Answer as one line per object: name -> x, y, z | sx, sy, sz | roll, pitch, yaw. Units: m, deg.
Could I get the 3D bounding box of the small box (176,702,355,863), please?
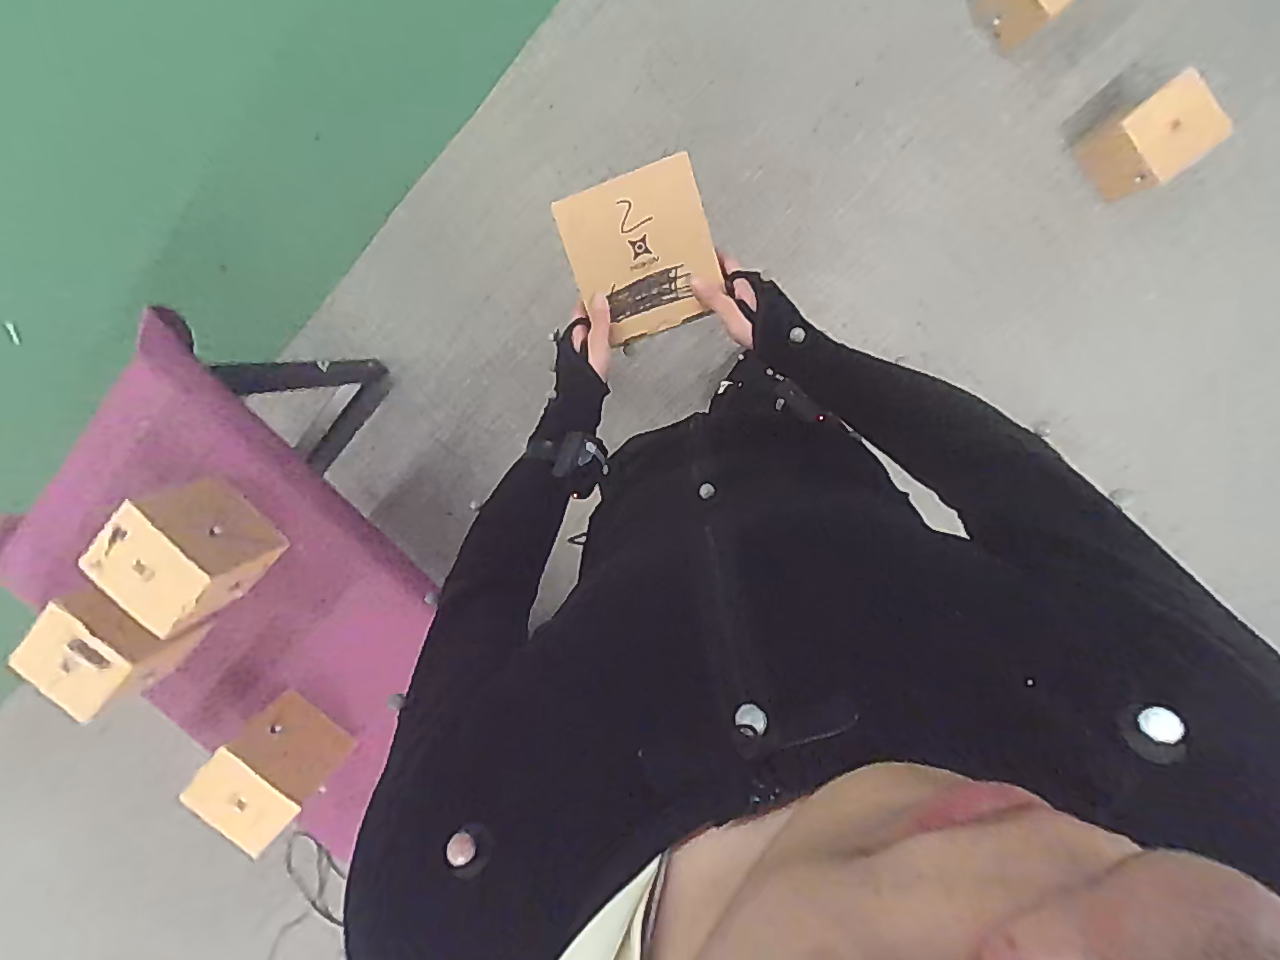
small box -> -0.685, 0.547, 1.008 | 0.179, 0.176, 0.168 | 43, 104, -5

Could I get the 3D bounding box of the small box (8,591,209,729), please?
small box -> -0.939, 0.295, 0.975 | 0.179, 0.176, 0.168 | -43, 95, 14

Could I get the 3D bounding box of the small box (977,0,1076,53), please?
small box -> 0.895, -1.108, 1.186 | 0.179, 0.176, 0.168 | -41, 95, 13

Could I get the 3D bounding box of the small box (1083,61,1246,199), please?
small box -> 1.179, -0.783, 1.233 | 0.168, 0.176, 0.179 | -40, 97, 13

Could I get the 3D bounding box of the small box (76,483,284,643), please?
small box -> -0.760, 0.130, 0.915 | 0.168, 0.176, 0.179 | -42, 97, 14
